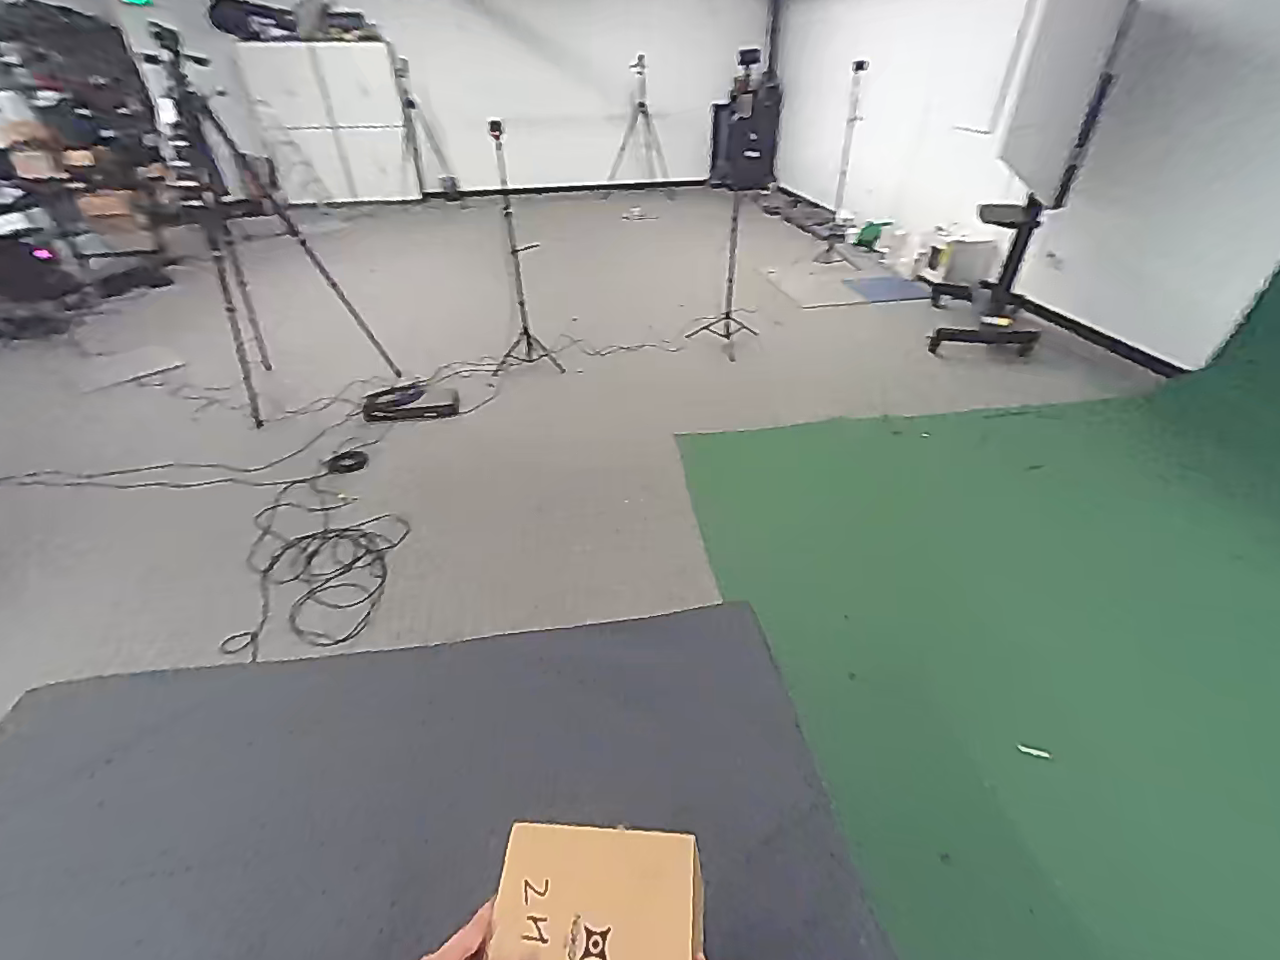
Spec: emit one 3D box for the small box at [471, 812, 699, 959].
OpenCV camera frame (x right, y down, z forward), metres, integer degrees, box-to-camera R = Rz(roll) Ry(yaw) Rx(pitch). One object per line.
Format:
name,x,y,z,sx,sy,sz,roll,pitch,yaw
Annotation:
small box,-0.038,0.425,0.487,0.179,0.176,0.168,-1,41,9
